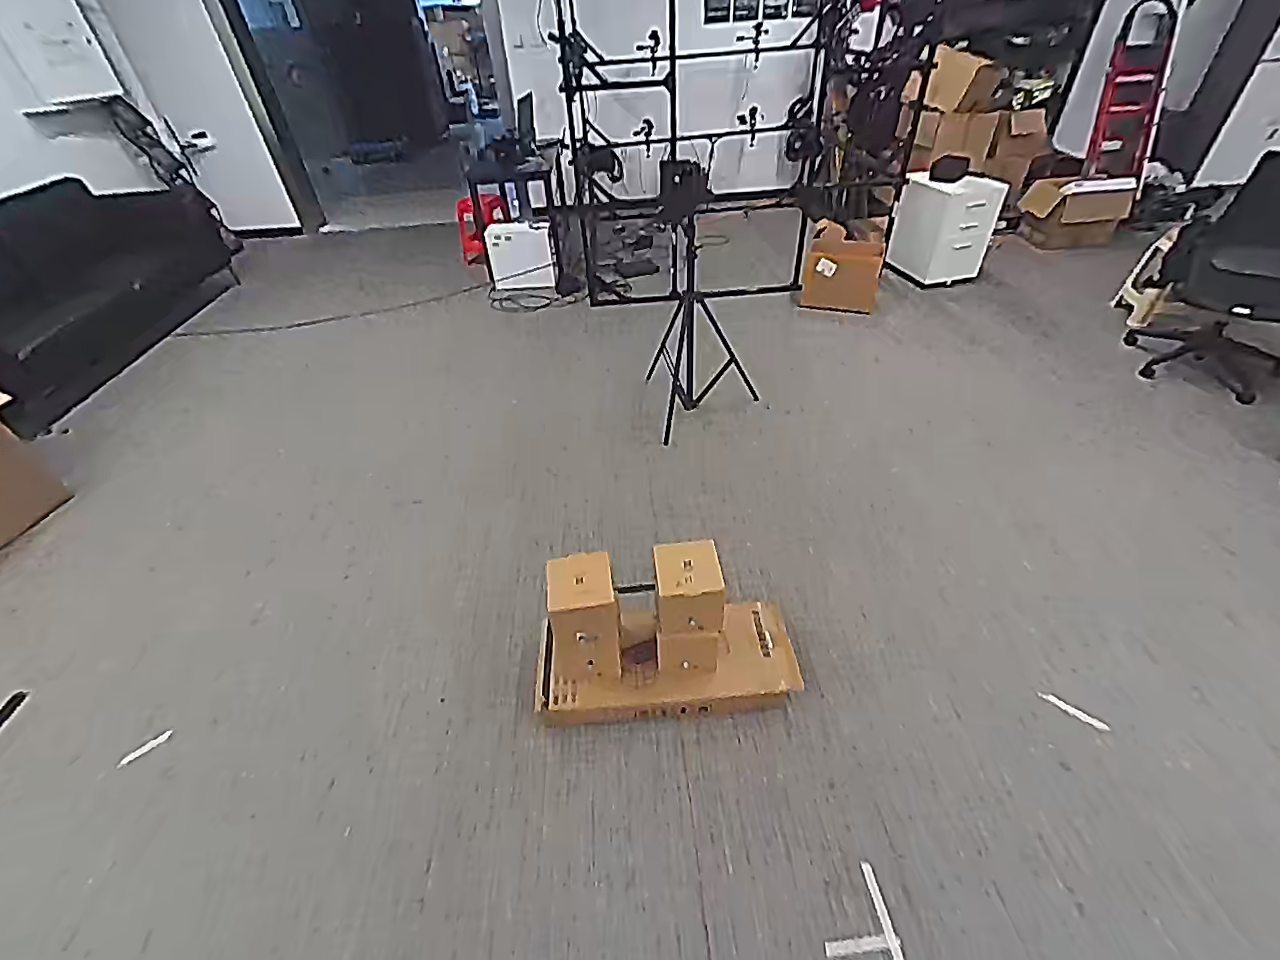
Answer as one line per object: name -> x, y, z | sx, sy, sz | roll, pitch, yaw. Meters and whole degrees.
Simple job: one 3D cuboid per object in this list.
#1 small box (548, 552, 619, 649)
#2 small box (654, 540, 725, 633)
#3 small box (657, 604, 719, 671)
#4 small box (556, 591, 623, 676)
small box -> -0.149, 0.318, 1.430 | 0.168, 0.176, 0.179 | -8, 41, -5
small box -> 0.127, 0.284, 1.444 | 0.168, 0.176, 0.179 | -6, 40, -1
small box -> 0.131, 0.421, 1.540 | 0.168, 0.176, 0.179 | -3, 41, 2
small box -> -0.137, 0.441, 1.536 | 0.168, 0.176, 0.179 | -4, 41, 0
